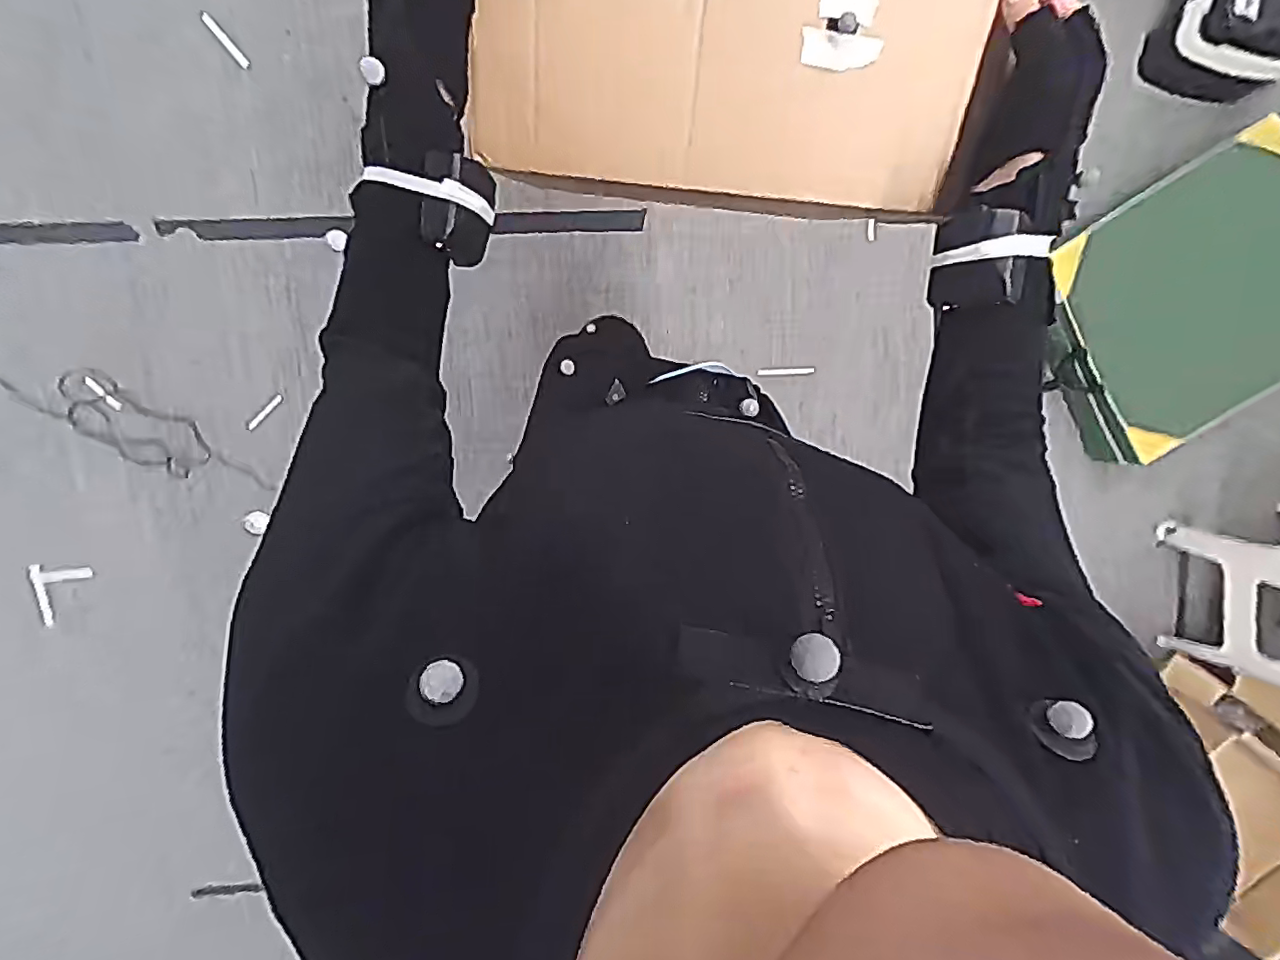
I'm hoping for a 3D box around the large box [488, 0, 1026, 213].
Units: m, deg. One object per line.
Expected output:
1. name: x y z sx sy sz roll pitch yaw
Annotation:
1. large box: 0.082 -0.443 0.515 0.408 0.320 0.320 4 117 -5
